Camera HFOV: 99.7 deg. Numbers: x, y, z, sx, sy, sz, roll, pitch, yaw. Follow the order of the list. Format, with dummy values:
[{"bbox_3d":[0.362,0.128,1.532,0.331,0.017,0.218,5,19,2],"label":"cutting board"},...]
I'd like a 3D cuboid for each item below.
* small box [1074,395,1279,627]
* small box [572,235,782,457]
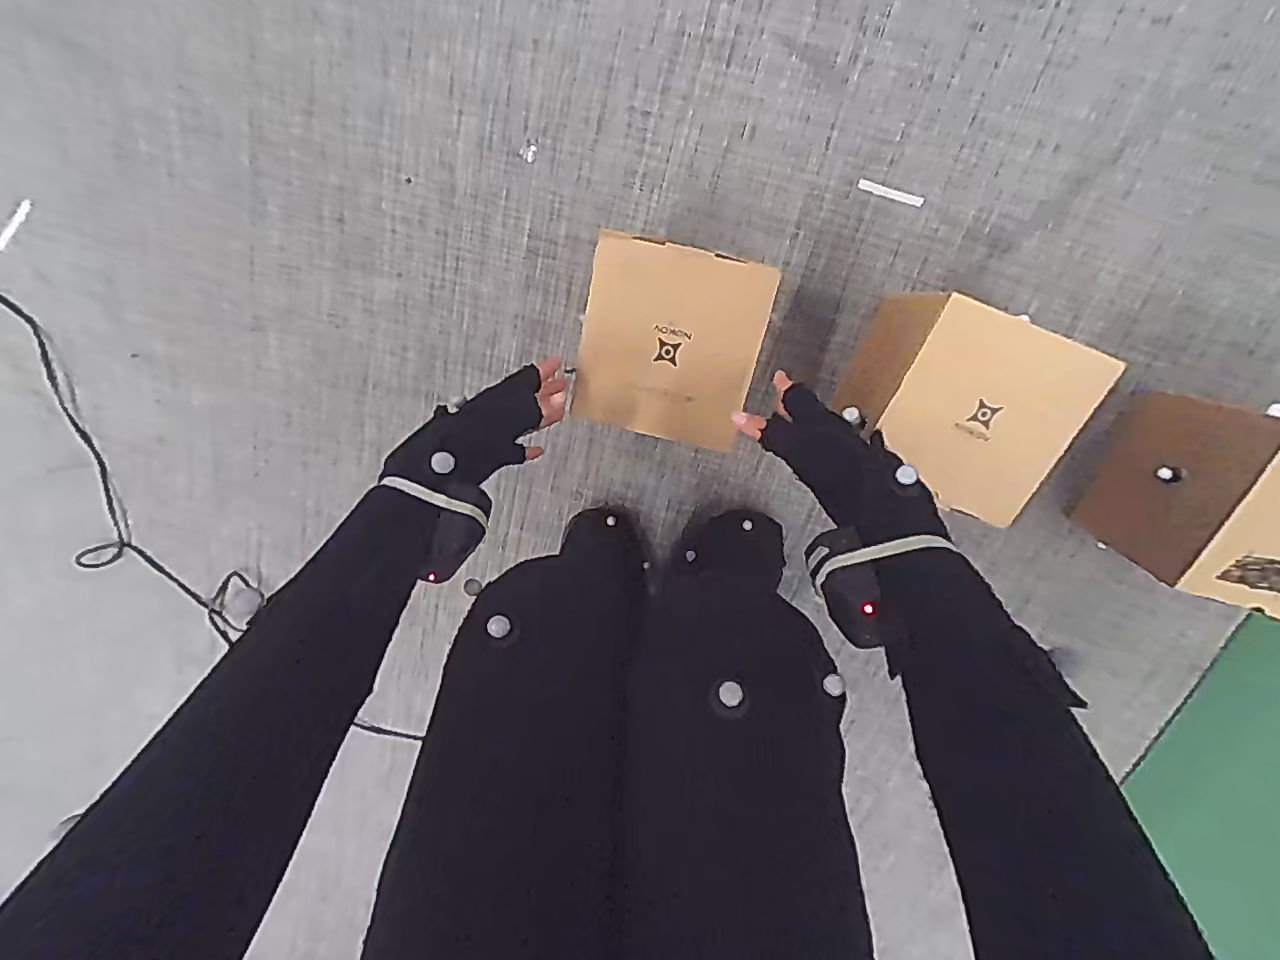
[{"bbox_3d":[0.617,0.027,0.570,0.168,0.176,0.179,17,110,0],"label":"small box"},{"bbox_3d":[0.038,-0.147,0.577,0.168,0.176,0.179,14,112,4],"label":"small box"}]
